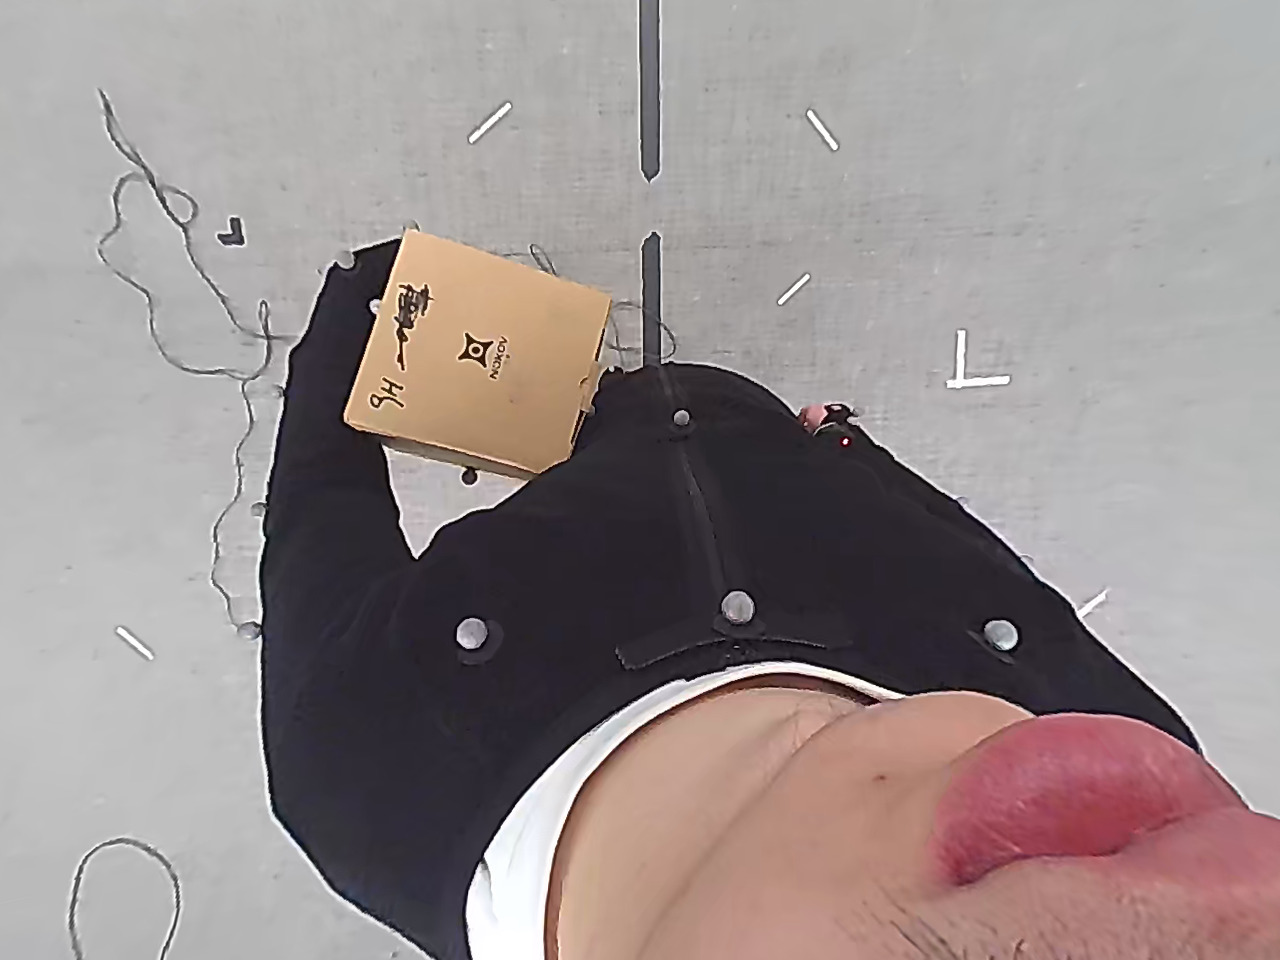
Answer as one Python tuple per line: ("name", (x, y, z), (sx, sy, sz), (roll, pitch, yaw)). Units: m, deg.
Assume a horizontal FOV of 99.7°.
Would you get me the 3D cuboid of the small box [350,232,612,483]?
("small box", (-0.143, -0.097, 0.523), (0.179, 0.176, 0.168), (15, 82, -11))
